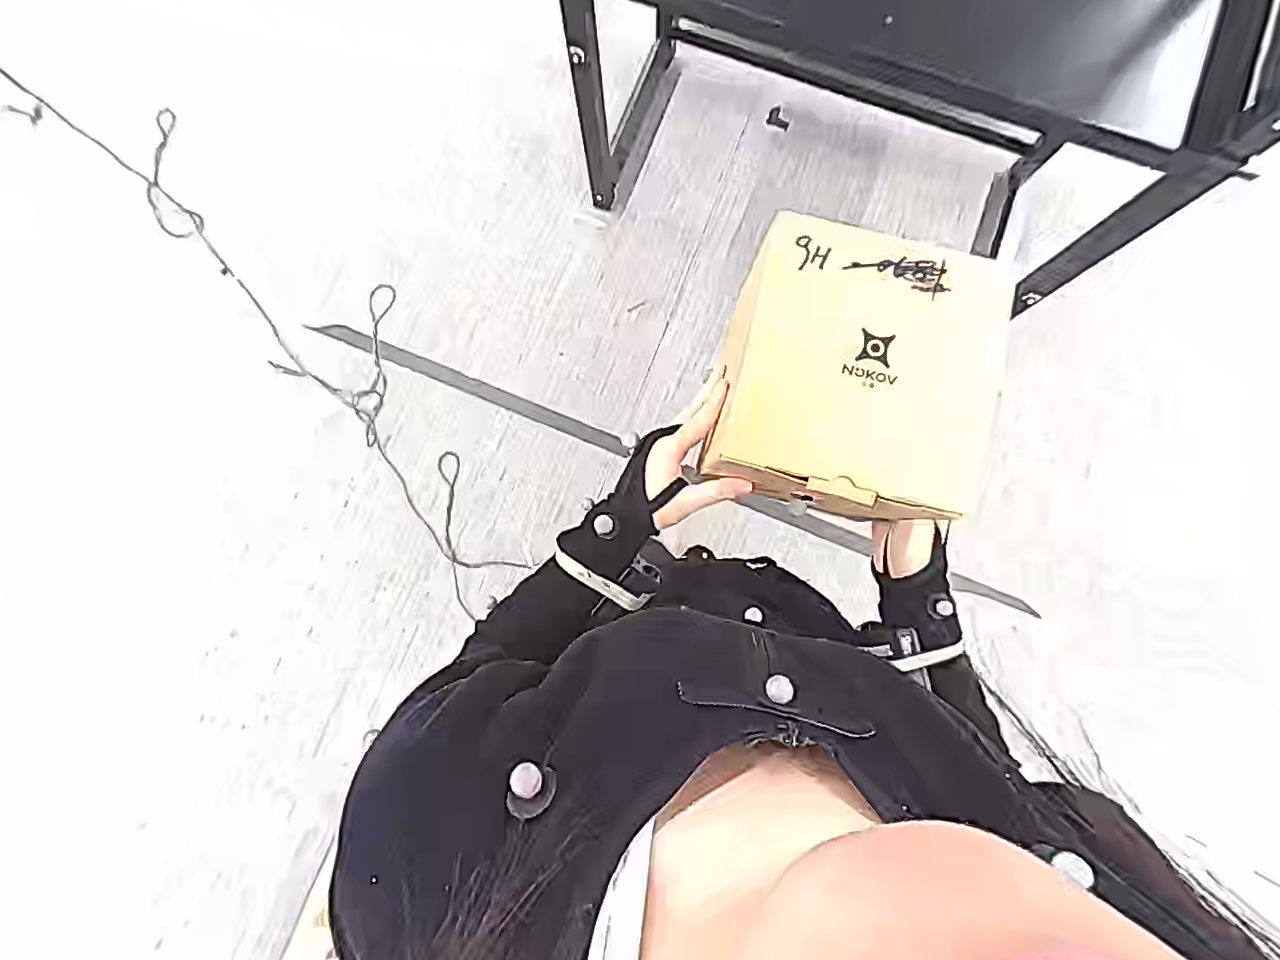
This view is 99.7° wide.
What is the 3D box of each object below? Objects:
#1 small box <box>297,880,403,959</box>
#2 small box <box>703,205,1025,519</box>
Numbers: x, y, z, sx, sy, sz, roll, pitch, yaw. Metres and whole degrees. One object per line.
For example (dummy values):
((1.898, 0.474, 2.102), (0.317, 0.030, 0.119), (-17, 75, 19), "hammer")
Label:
((-0.700, 1.120, 1.303), (0.168, 0.176, 0.179), (18, 84, 3), "small box")
((0.152, -0.073, 0.428), (0.168, 0.176, 0.179), (14, 86, 0), "small box")
